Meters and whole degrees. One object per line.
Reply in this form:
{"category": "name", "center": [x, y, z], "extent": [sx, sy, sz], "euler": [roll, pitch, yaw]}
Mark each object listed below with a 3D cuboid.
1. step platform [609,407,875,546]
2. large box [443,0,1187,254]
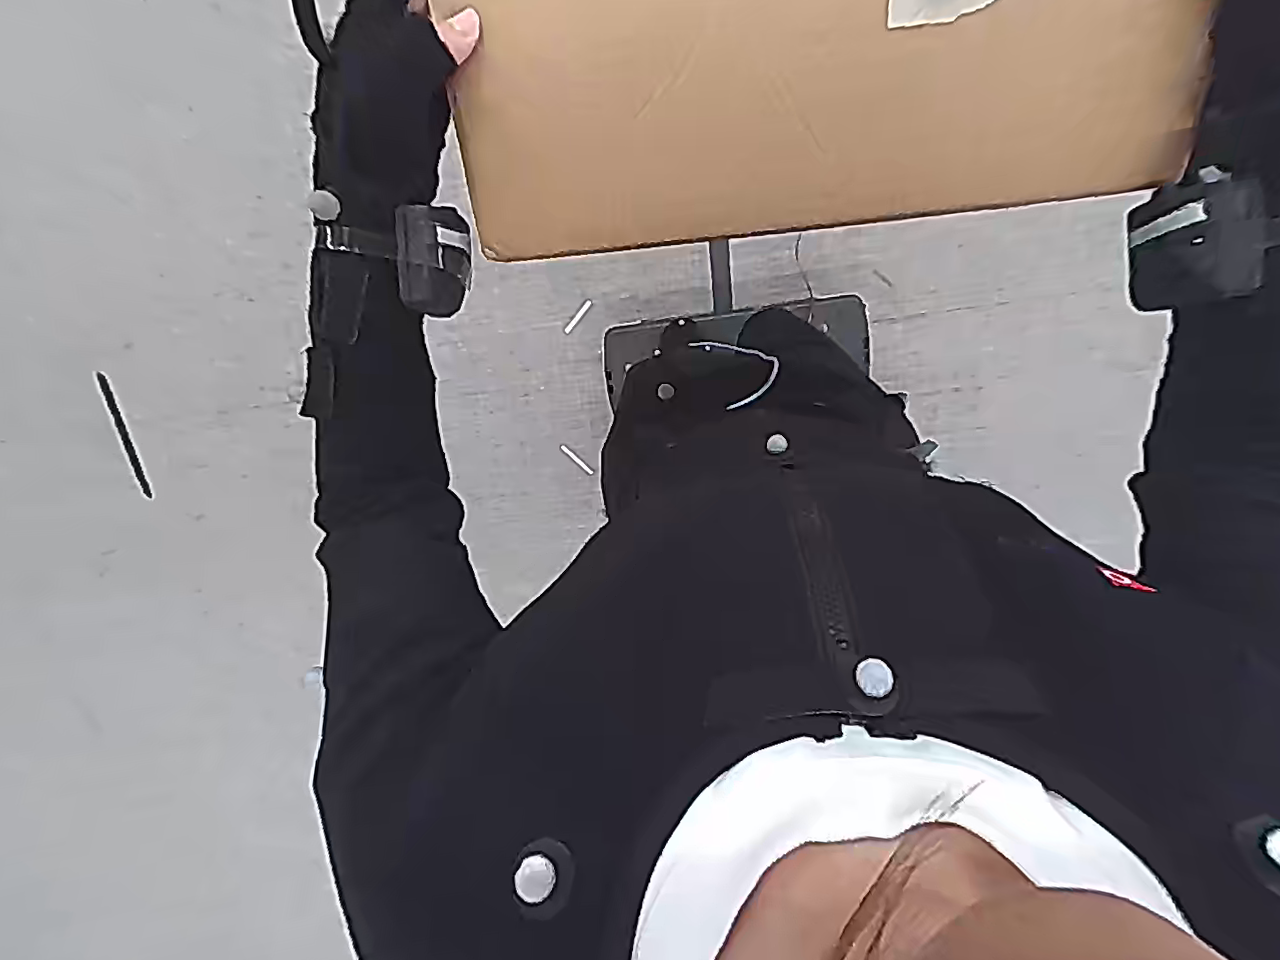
{"category": "step platform", "center": [0.259, -0.007, 1.448], "extent": [0.684, 0.204, 0.286], "euler": [-6, 104, 8]}
{"category": "large box", "center": [0.092, -0.367, 0.411], "extent": [0.408, 0.320, 0.320], "euler": [-4, 115, 7]}
